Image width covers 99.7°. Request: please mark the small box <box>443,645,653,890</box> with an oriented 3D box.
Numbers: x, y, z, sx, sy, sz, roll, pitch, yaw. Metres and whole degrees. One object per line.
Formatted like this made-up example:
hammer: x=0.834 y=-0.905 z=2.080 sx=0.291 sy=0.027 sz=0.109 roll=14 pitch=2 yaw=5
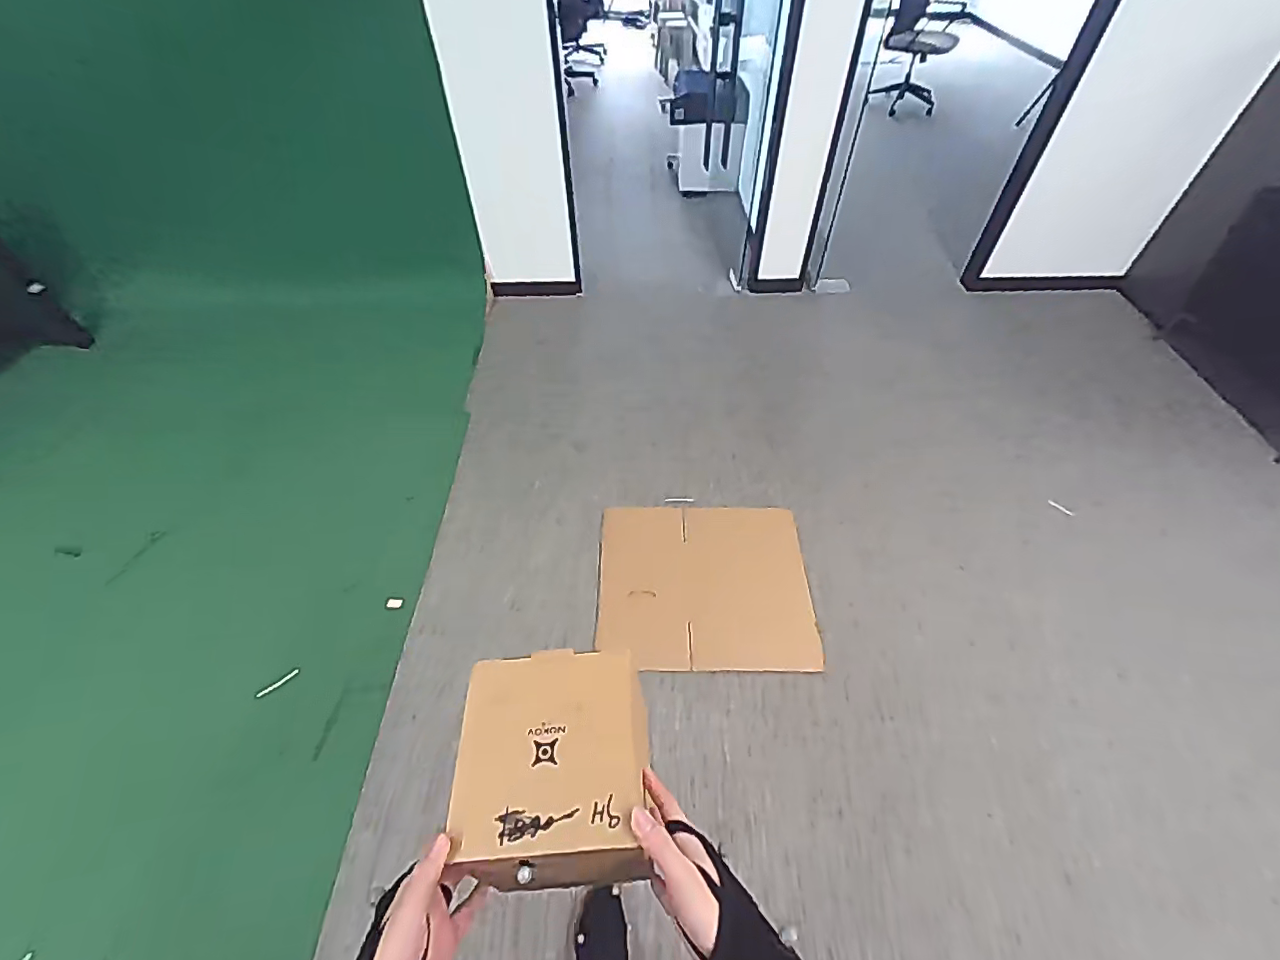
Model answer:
small box: x=-0.076 y=0.292 z=0.551 sx=0.168 sy=0.176 sz=0.179 roll=-5 pitch=45 yaw=2
